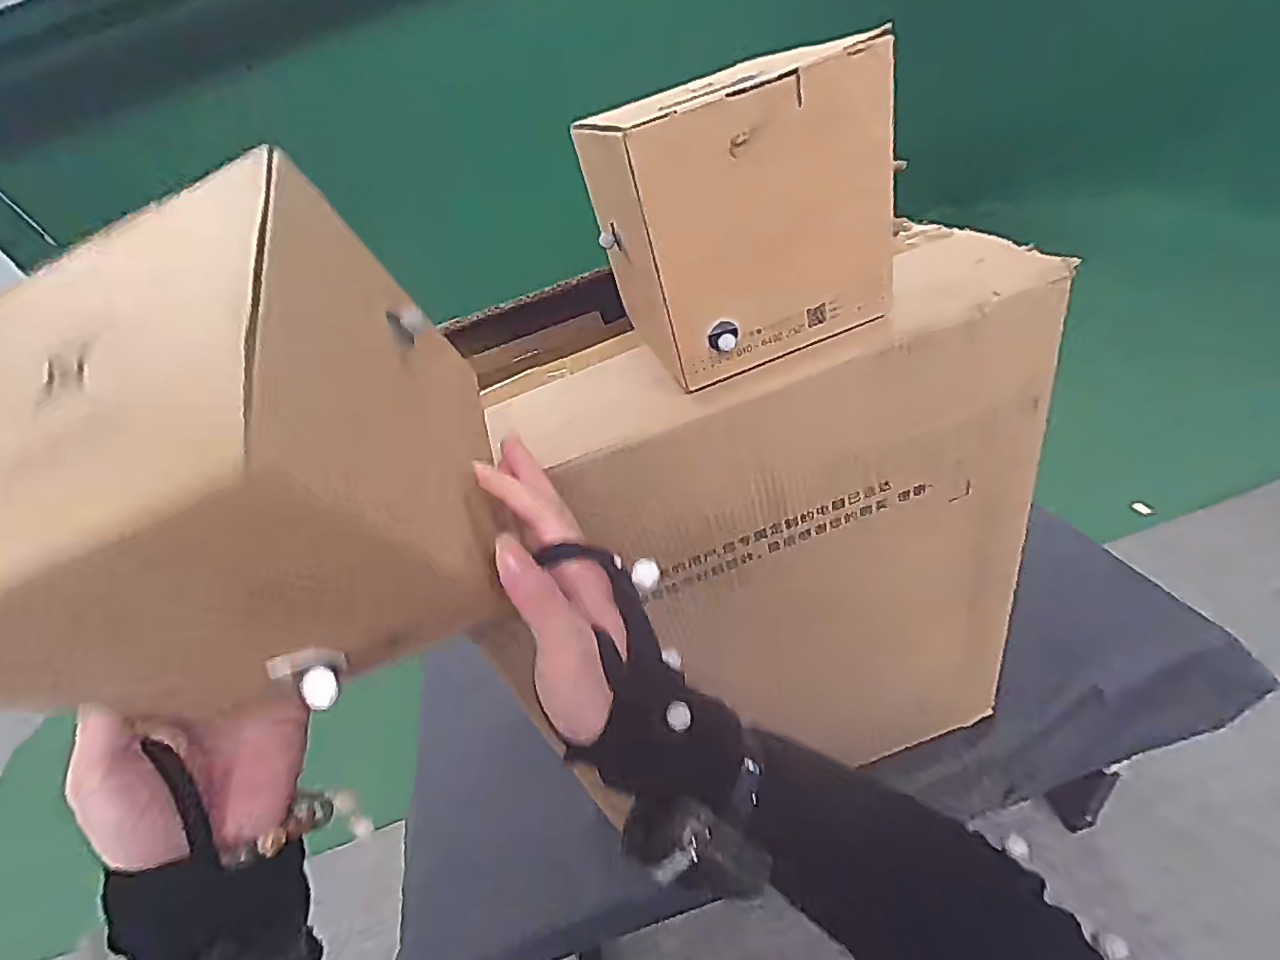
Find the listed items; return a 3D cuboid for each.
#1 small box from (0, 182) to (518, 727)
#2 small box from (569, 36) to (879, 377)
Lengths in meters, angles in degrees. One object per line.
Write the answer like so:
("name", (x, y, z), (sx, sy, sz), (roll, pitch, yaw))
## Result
("small box", (-0.182, 0.007, 0.266), (0.168, 0.176, 0.179), (-24, 62, 7))
("small box", (0.061, -0.198, 0.411), (0.168, 0.176, 0.179), (-21, 36, -3))
